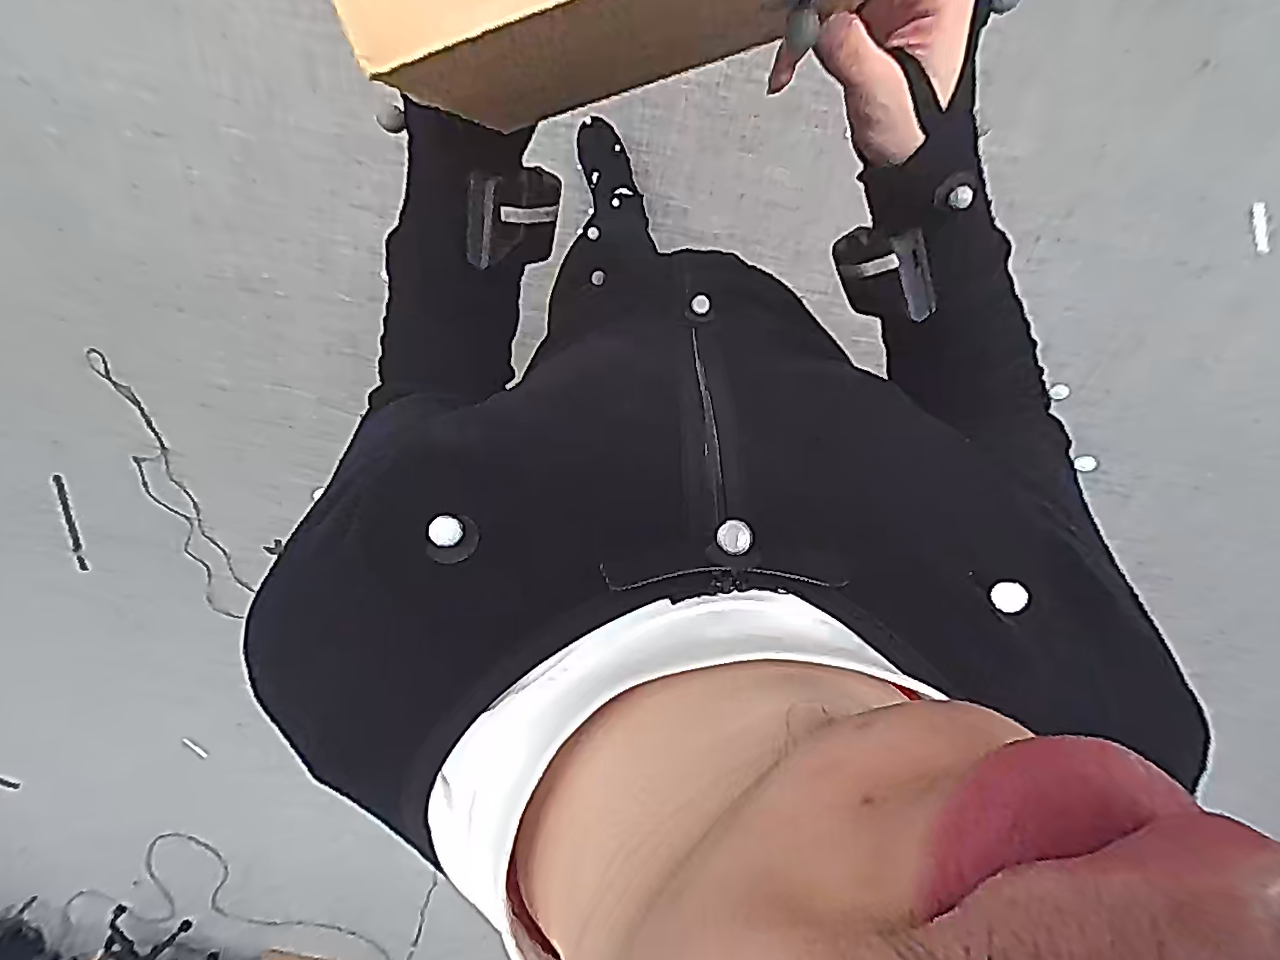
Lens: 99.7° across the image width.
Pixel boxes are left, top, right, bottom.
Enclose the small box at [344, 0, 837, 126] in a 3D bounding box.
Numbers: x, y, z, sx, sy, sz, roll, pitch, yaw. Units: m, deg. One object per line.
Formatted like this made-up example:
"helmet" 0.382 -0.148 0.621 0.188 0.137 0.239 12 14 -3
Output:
"small box" -0.011 -0.235 0.170 0.179 0.176 0.168 -14 117 8
